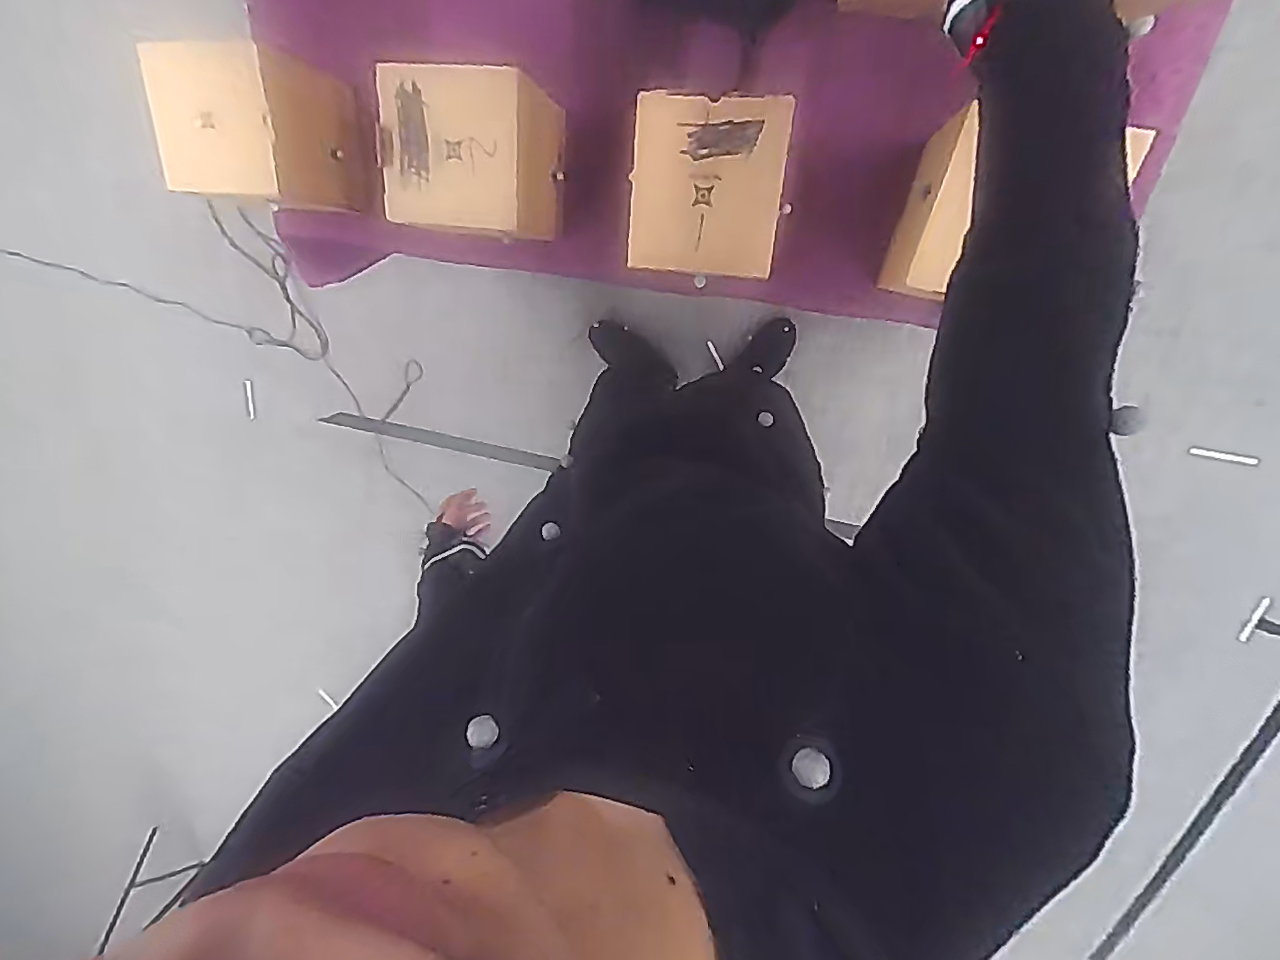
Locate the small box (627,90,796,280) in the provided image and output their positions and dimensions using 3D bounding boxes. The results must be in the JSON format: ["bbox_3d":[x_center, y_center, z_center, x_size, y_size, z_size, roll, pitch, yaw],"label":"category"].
[{"bbox_3d":[0.088,-0.346,0.661,0.168,0.176,0.179,9,112,10],"label":"small box"}]

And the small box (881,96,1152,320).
[{"bbox_3d":[0.393,-0.292,0.610,0.168,0.176,0.179,17,112,8],"label":"small box"}]

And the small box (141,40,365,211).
[{"bbox_3d":[-0.520,-0.477,0.751,0.179,0.176,0.168,7,111,9],"label":"small box"}]
